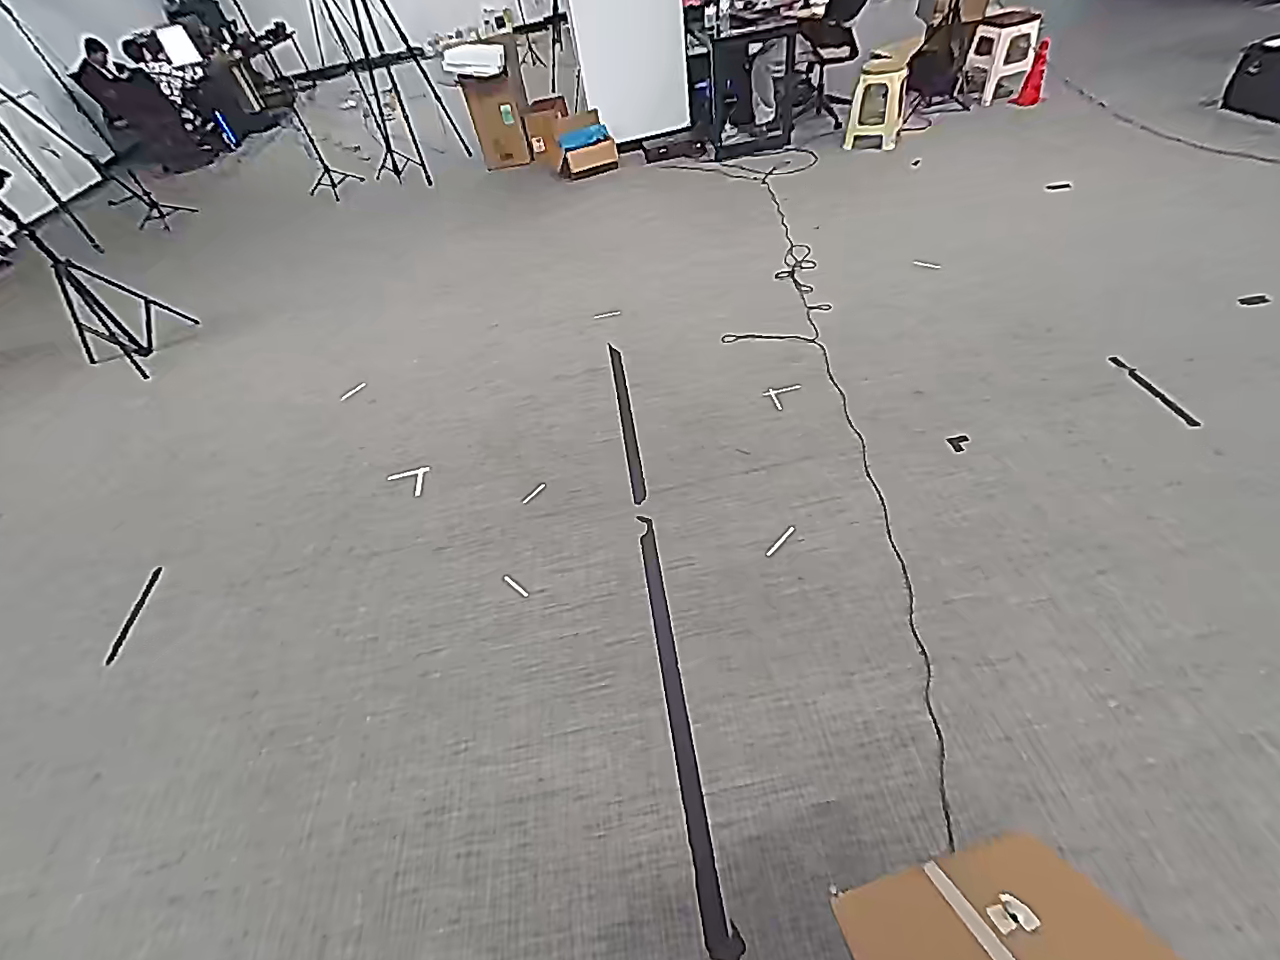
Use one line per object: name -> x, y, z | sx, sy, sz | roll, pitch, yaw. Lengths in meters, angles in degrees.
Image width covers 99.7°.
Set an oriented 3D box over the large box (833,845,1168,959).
large box -> 0.471, 0.706, 0.589 | 0.320, 0.408, 0.320 | -18, 82, 0
